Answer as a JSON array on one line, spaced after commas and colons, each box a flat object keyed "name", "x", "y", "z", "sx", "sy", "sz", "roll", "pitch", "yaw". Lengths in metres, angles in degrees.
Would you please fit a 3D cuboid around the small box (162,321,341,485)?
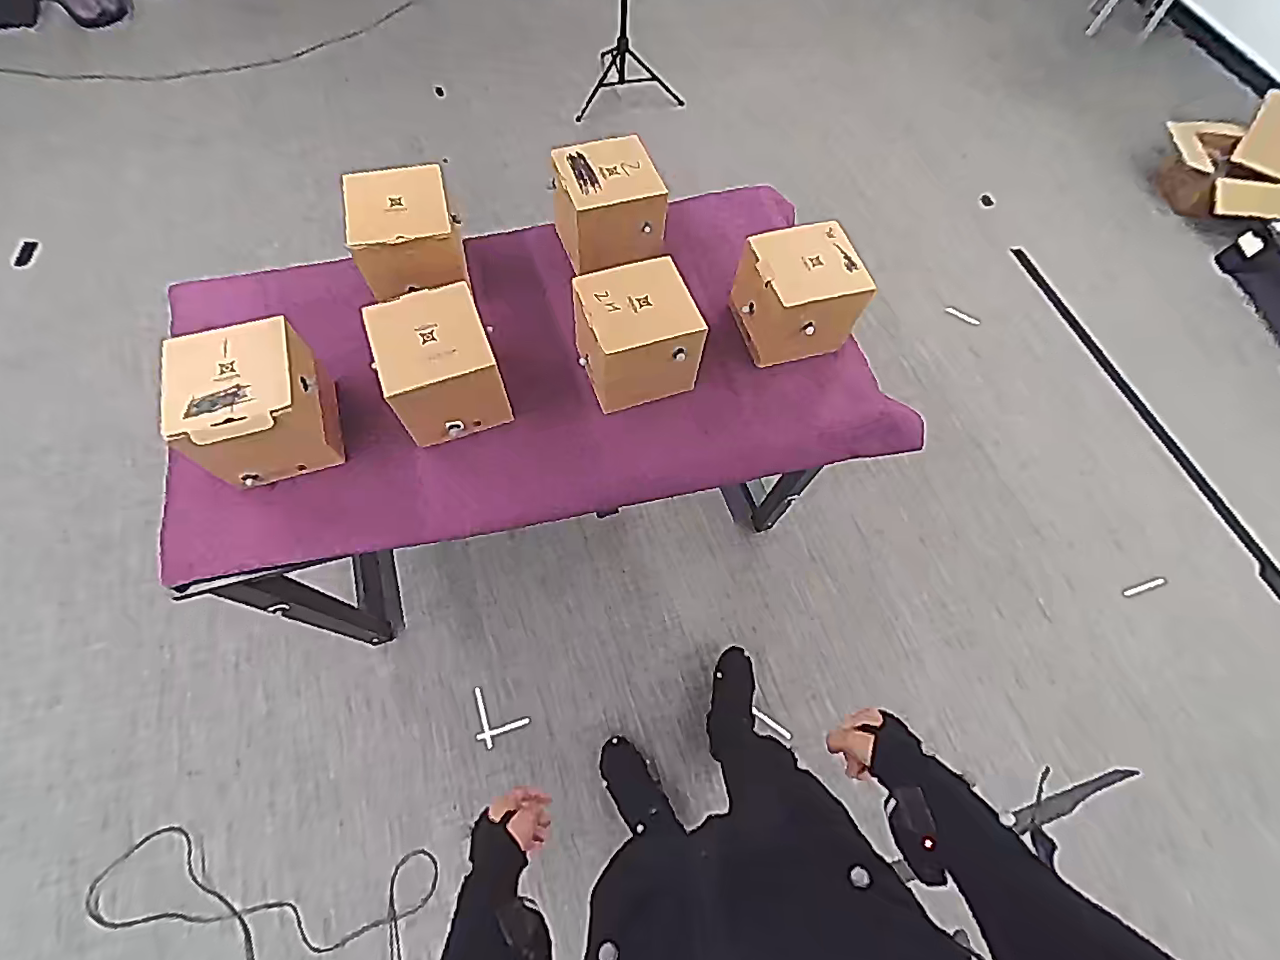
[{"name": "small box", "x": -0.586, "y": -0.108, "z": 0.835, "sx": 0.168, "sy": 0.176, "sz": 0.179, "roll": -17, "pitch": 66, "yaw": -11}]

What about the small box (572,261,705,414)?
[{"name": "small box", "x": -0.009, "y": -0.240, "z": 0.931, "sx": 0.179, "sy": 0.176, "sz": 0.168, "roll": -18, "pitch": 67, "yaw": -11}]

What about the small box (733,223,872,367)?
[{"name": "small box", "x": 0.280, "y": -0.330, "z": 0.989, "sx": 0.179, "sy": 0.176, "sz": 0.168, "roll": -14, "pitch": 68, "yaw": -8}]

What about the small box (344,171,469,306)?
[{"name": "small box", "x": -0.419, "y": -0.425, "z": 0.987, "sx": 0.168, "sy": 0.176, "sz": 0.179, "roll": -13, "pitch": 68, "yaw": -10}]

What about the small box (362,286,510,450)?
[{"name": "small box", "x": -0.325, "y": -0.178, "z": 0.885, "sx": 0.168, "sy": 0.176, "sz": 0.179, "roll": -20, "pitch": 68, "yaw": -11}]
